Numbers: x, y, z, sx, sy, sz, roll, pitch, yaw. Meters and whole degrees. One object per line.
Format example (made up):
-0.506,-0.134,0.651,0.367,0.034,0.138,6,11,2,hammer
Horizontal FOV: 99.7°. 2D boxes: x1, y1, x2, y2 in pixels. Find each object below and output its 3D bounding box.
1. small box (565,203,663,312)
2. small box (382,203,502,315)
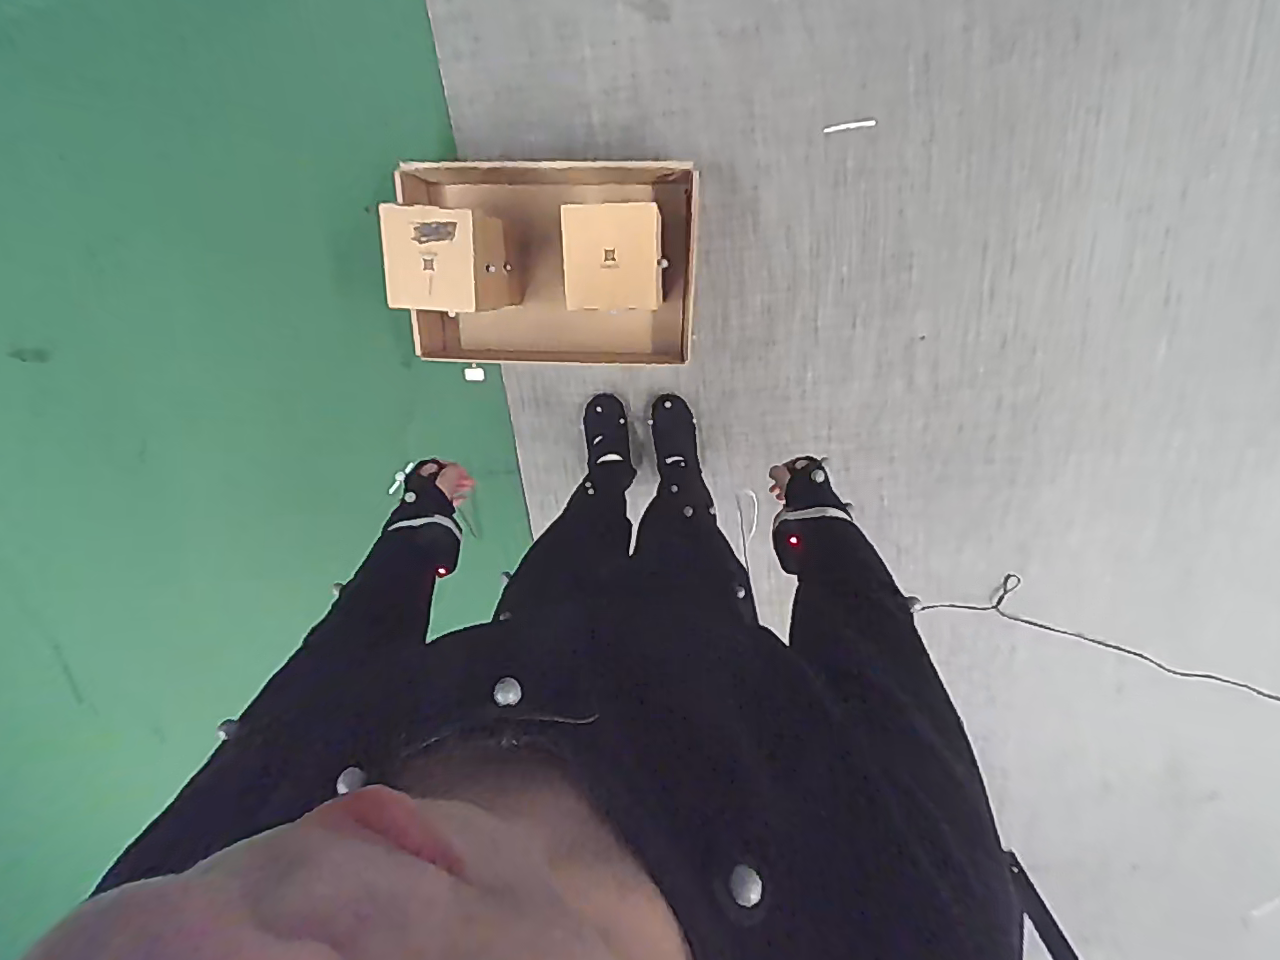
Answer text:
-0.044,-0.410,1.016,0.168,0.176,0.179,2,110,4,small box
-0.369,-0.417,1.035,0.168,0.176,0.179,5,110,1,small box
